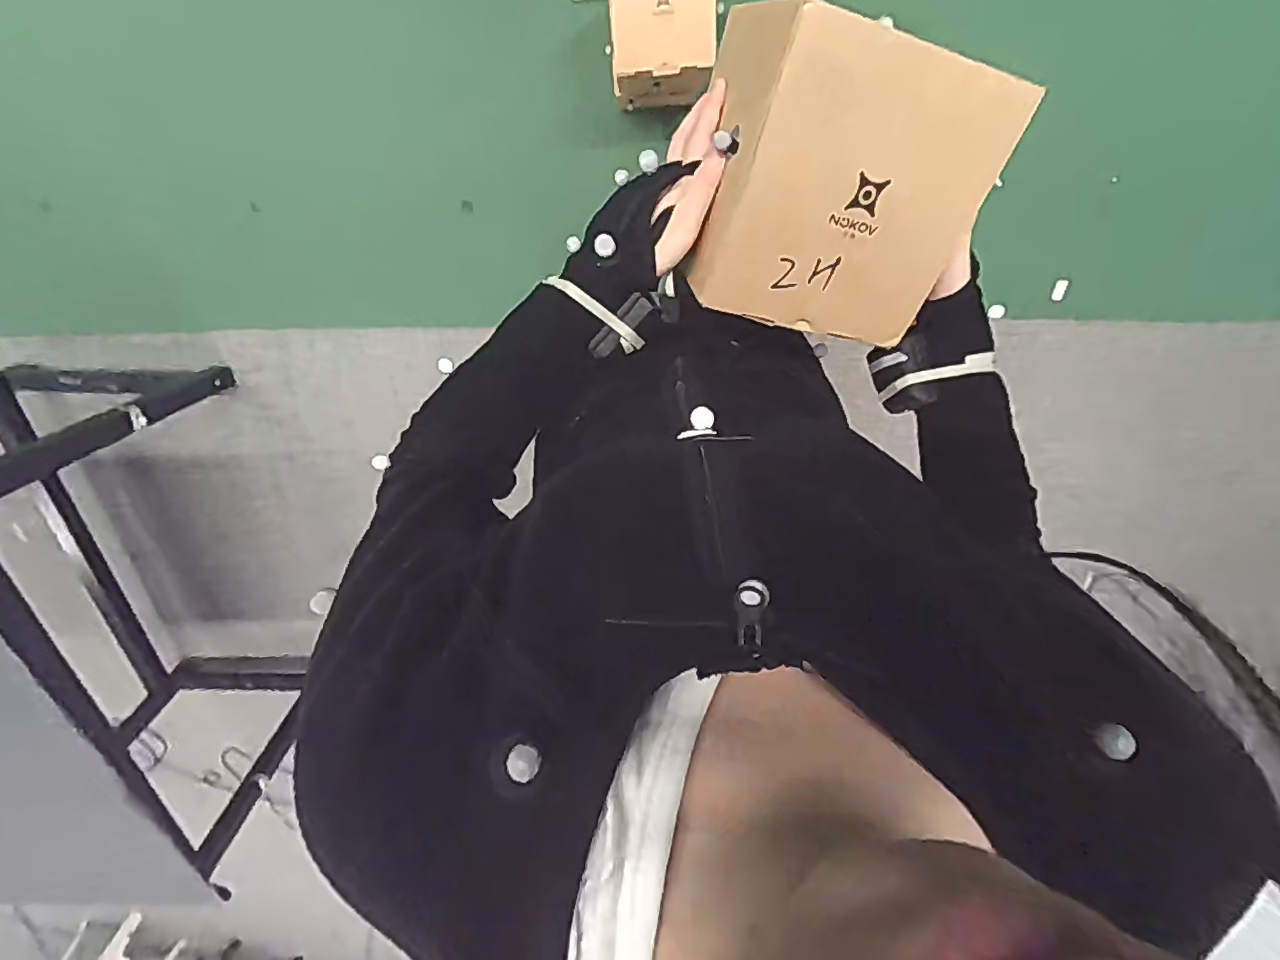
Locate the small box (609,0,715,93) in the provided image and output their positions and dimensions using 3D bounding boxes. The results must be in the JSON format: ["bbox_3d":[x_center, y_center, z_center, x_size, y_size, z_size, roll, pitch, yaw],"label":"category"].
[{"bbox_3d":[0.033,-0.773,0.903,0.168,0.176,0.179,-4,118,2],"label":"small box"}]

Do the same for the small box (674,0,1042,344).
[{"bbox_3d":[0.134,-0.231,0.414,0.168,0.176,0.179,7,127,-14],"label":"small box"}]
